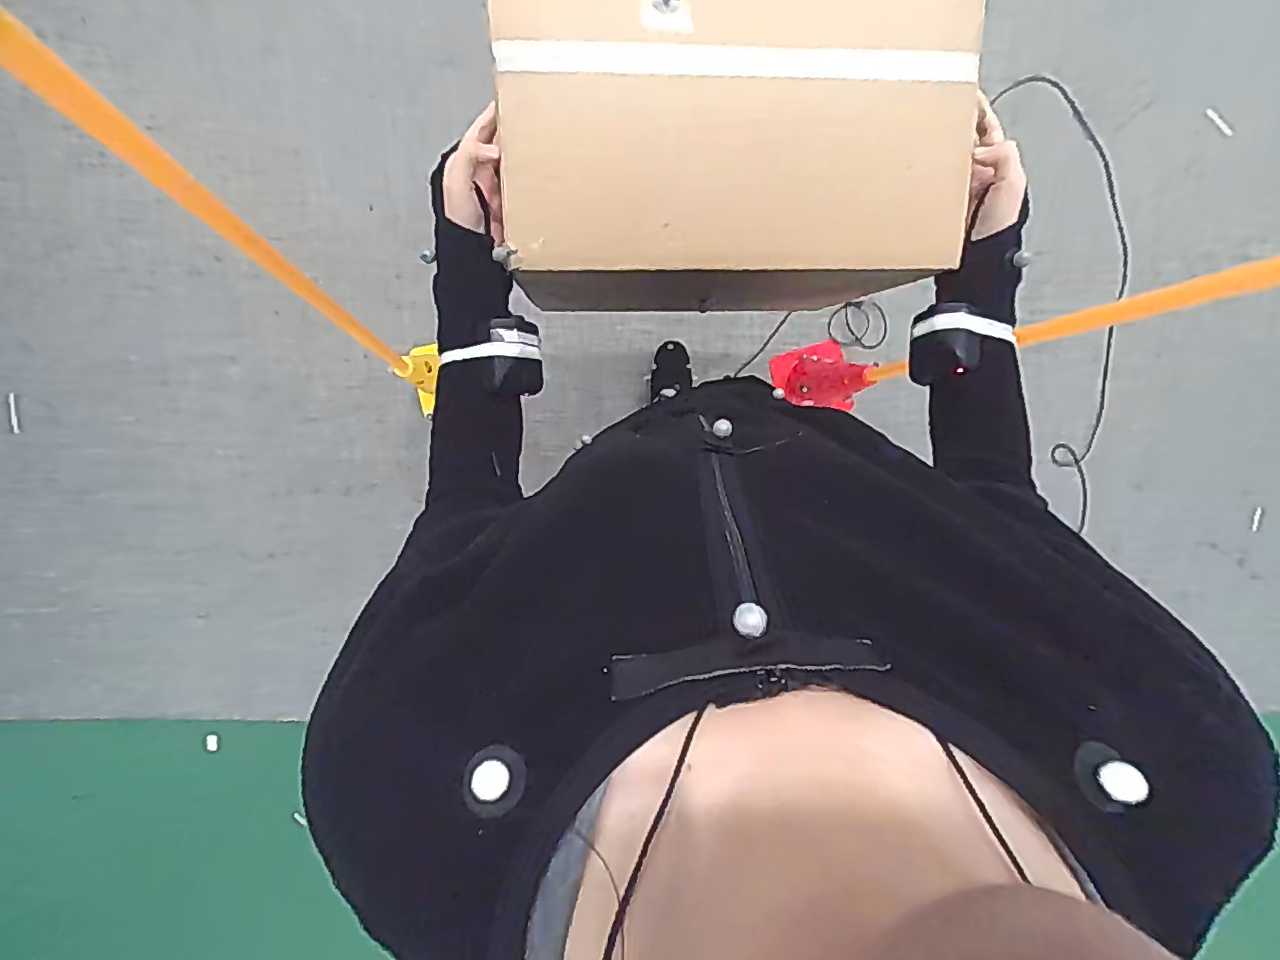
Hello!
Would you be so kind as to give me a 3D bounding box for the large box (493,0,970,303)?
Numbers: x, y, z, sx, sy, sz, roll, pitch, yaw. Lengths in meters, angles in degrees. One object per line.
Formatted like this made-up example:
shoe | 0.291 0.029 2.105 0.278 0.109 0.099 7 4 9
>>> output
large box | 0.071 -0.374 0.599 0.408 0.320 0.320 -2 101 -4
